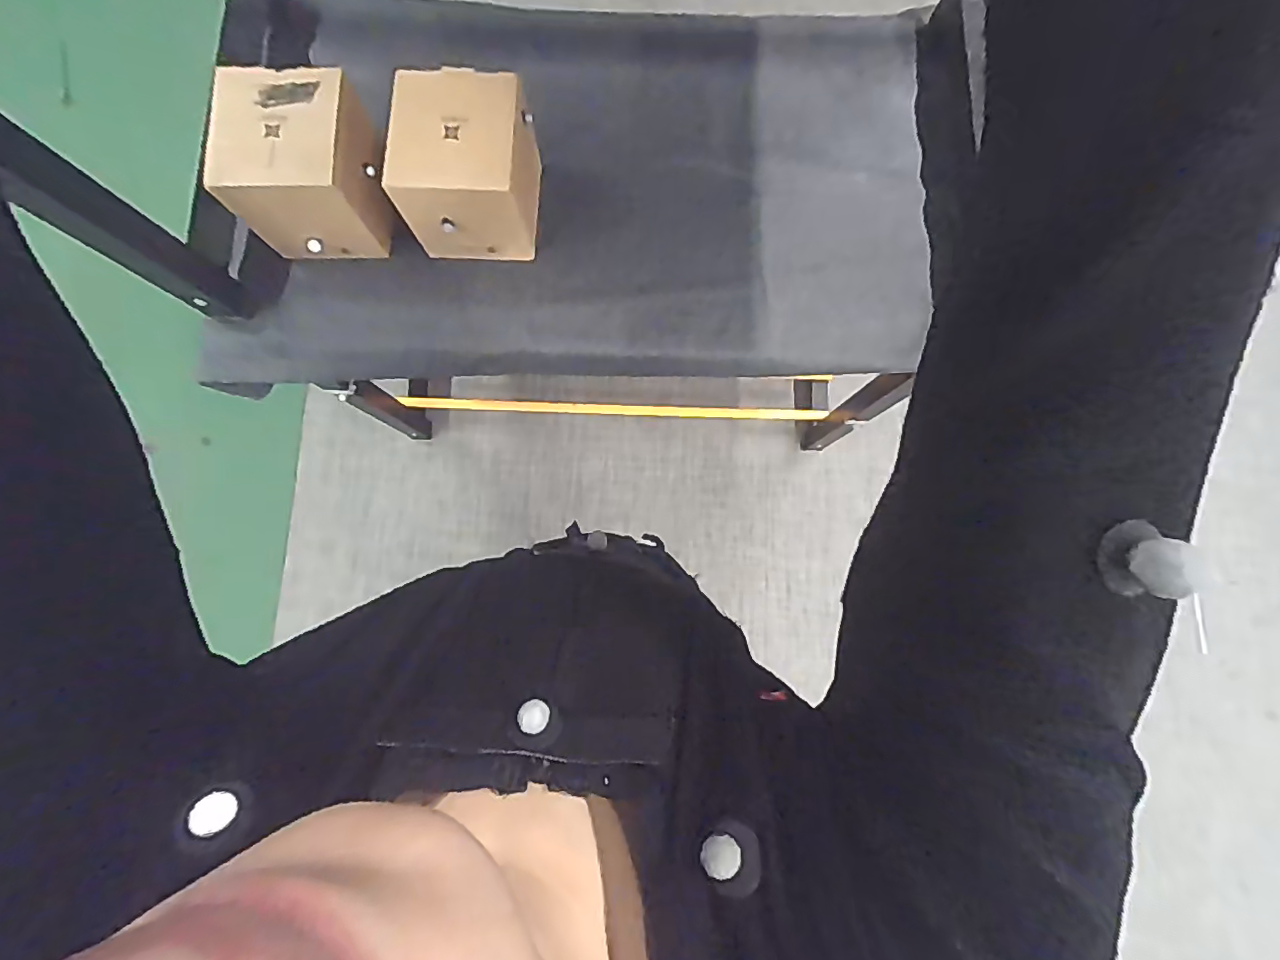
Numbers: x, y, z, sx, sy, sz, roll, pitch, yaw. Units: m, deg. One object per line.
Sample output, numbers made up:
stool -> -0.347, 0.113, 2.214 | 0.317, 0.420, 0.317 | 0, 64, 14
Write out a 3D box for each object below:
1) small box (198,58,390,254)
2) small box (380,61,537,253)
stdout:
small box -> -0.472, -0.449, 0.768 | 0.168, 0.176, 0.179 | 0, 81, -1
small box -> -0.245, -0.448, 0.773 | 0.168, 0.176, 0.179 | 2, 80, -1
